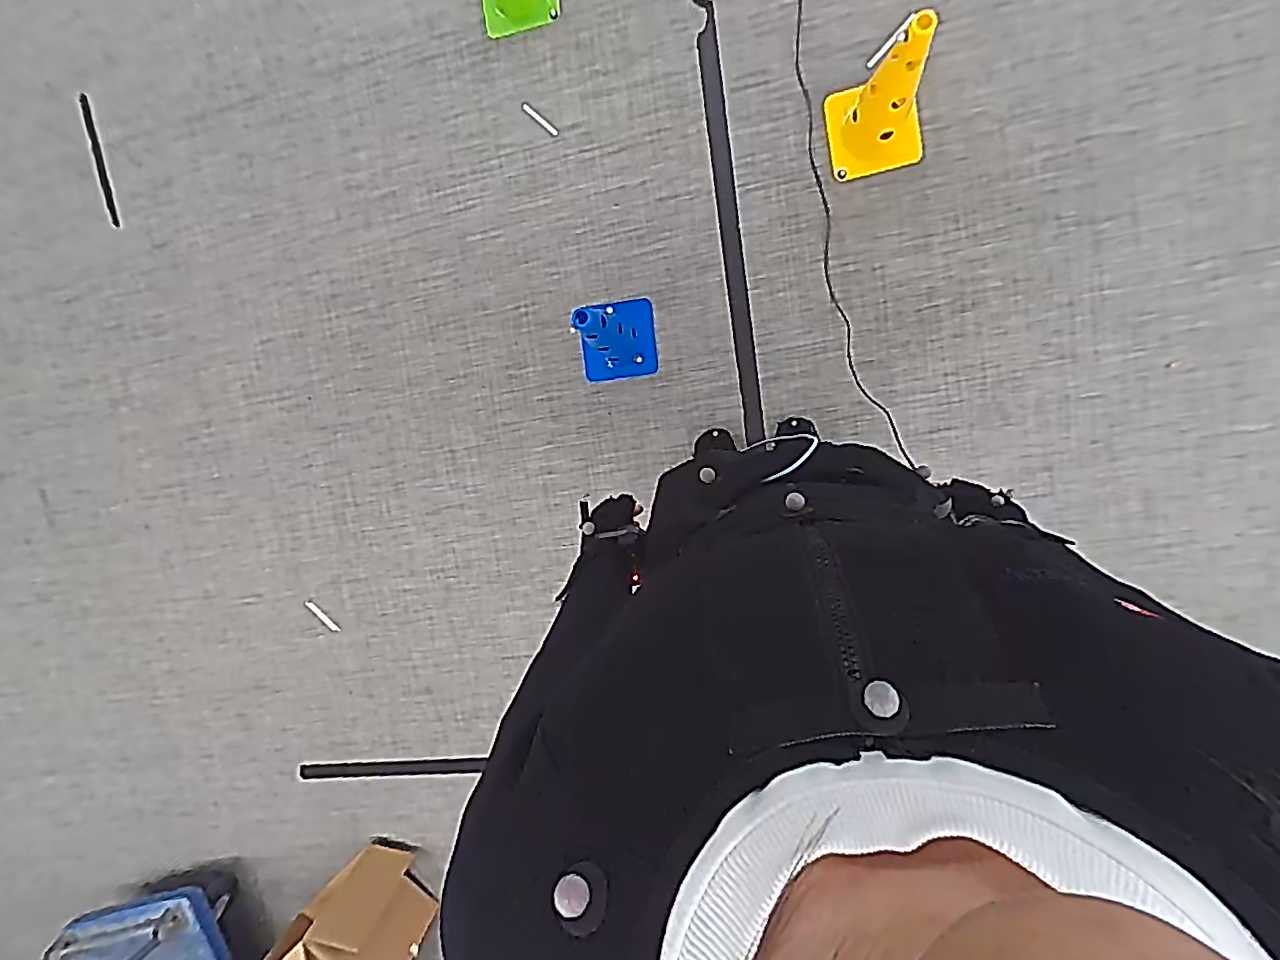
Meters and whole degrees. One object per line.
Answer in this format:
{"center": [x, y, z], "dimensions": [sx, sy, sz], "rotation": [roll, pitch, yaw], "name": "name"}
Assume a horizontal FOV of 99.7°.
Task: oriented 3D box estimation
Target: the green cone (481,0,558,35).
{"center": [-0.345, -1.232, 1.198], "dimensions": [0.202, 0.368, 0.200], "rotation": [-7, 96, 12], "name": "green cone"}

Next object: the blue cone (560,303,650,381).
{"center": [-0.101, -0.349, 1.278], "dimensions": [0.192, 0.380, 0.193], "rotation": [-3, 96, 11], "name": "blue cone"}
